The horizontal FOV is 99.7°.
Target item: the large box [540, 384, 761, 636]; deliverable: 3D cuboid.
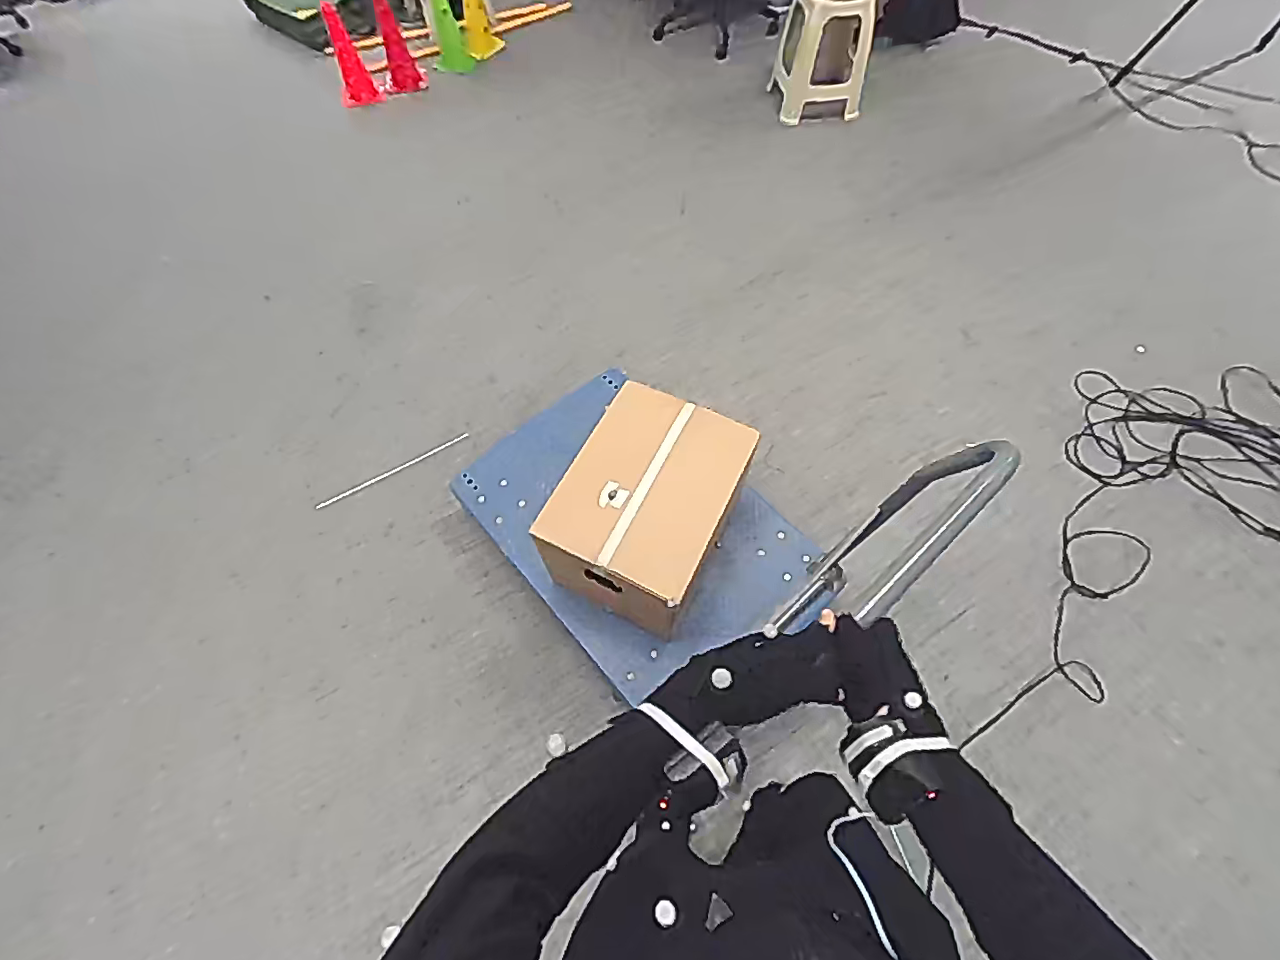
[{"bbox_3d":[0.032,0.072,1.195,0.320,0.320,0.408,23,66,13],"label":"large box"}]
